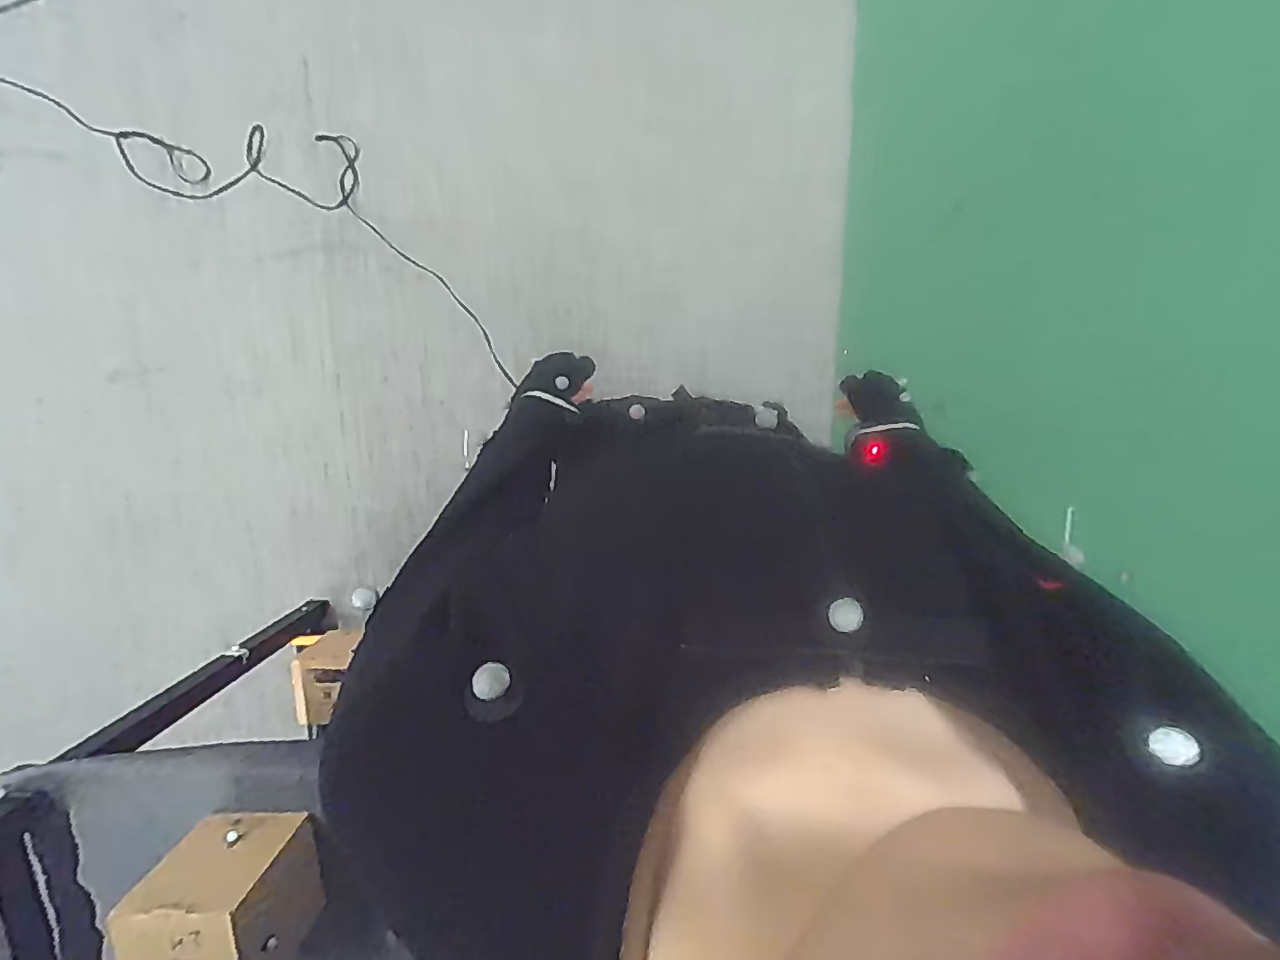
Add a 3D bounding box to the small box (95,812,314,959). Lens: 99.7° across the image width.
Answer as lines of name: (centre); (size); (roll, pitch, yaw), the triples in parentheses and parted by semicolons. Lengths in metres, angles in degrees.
small box: (-0.597, 0.612, 0.769); (0.168, 0.176, 0.179); (-2, 100, 1)
